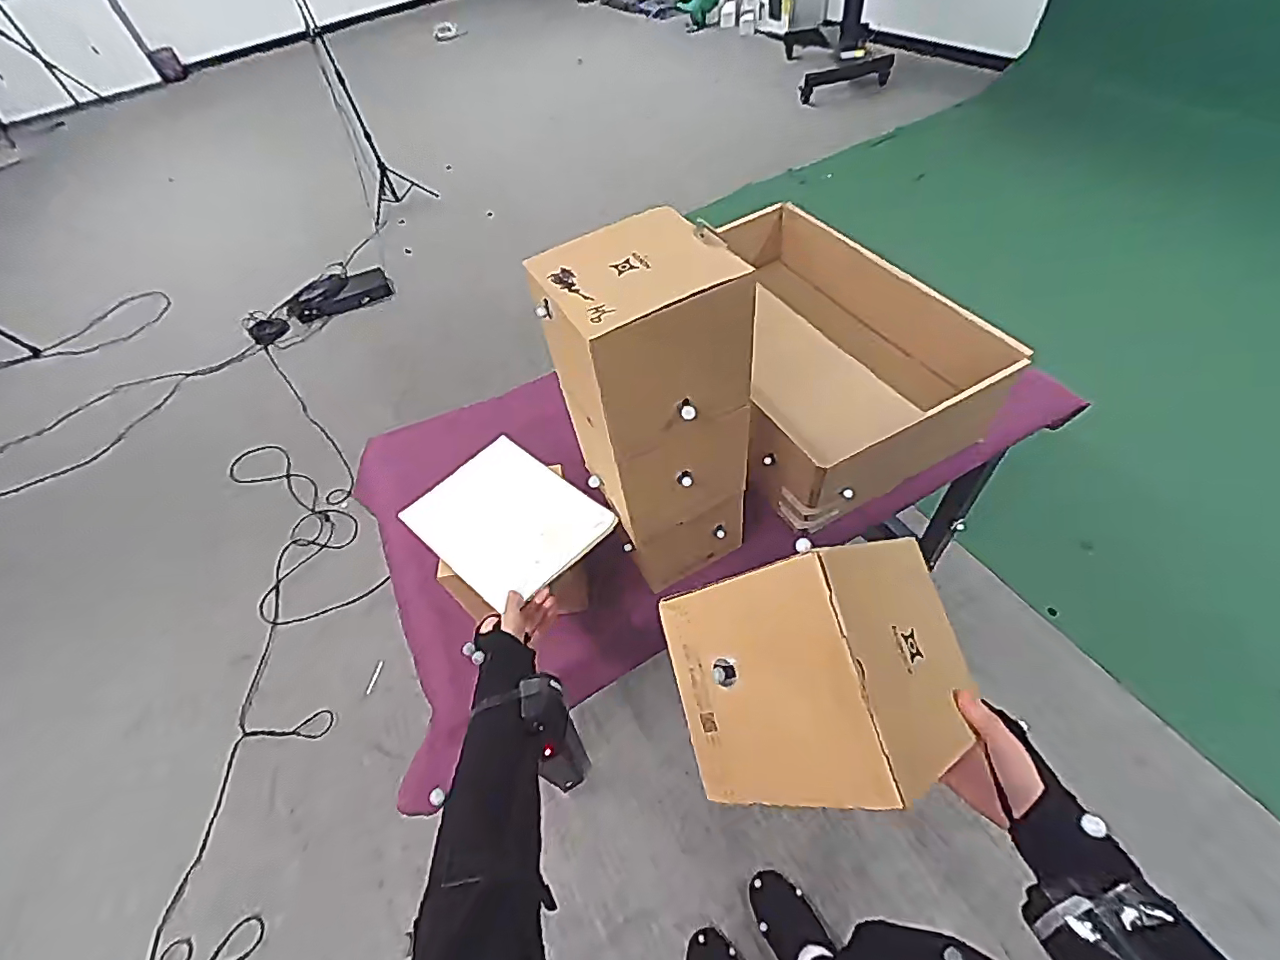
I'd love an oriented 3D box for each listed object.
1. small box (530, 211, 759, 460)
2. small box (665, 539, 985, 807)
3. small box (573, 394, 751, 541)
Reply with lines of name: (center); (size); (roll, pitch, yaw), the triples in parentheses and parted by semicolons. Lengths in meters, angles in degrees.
small box: (0.006, -0.154, 0.585); (0.179, 0.176, 0.168); (-26, 51, -12)
small box: (0.150, 0.154, 0.461); (0.179, 0.176, 0.168); (1, 67, -42)
small box: (0.026, -0.053, 0.713); (0.179, 0.176, 0.168); (-26, 52, -11)
